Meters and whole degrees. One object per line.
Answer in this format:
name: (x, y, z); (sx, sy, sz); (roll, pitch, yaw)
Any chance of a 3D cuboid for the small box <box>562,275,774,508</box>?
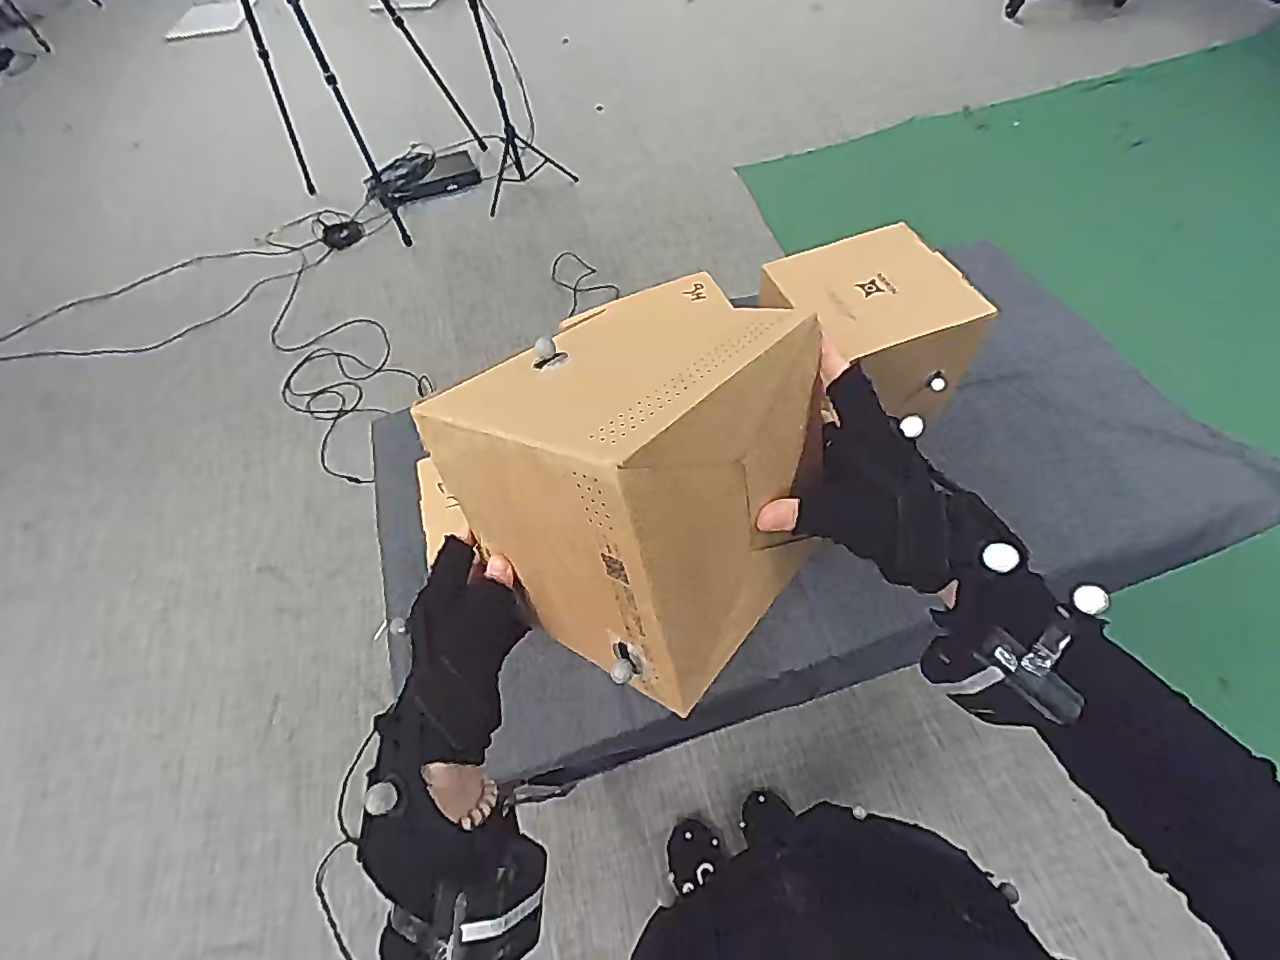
small box: (0.033, -0.093, 0.620); (0.179, 0.176, 0.168); (-22, 60, -6)
